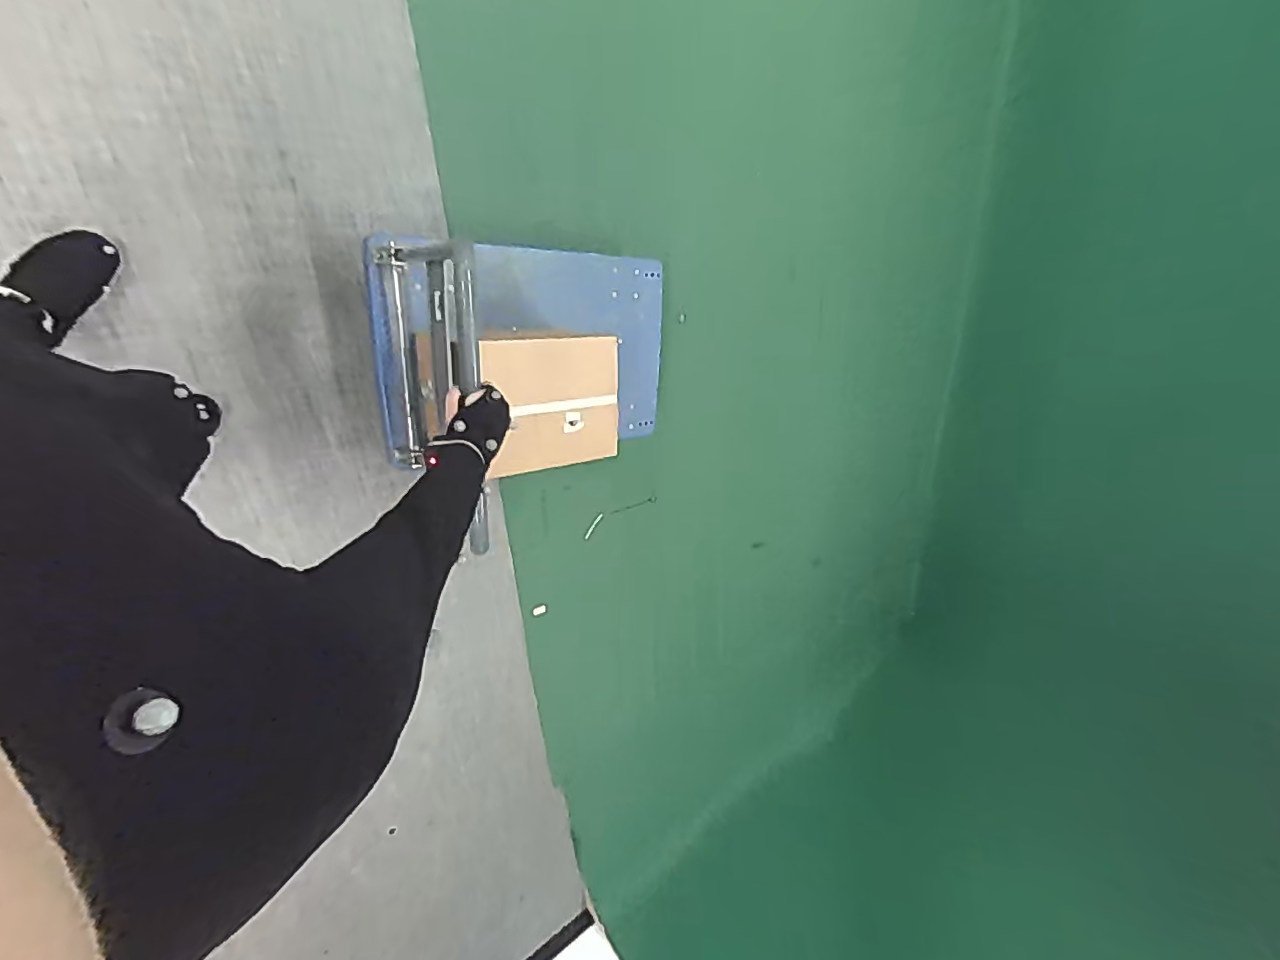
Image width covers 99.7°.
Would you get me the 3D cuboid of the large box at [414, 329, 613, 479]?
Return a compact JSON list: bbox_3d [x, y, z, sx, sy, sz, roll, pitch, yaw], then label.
[{"bbox_3d":[-0.321,-0.222,1.404,0.408,0.320,0.320,-13,114,-35],"label":"large box"}]
